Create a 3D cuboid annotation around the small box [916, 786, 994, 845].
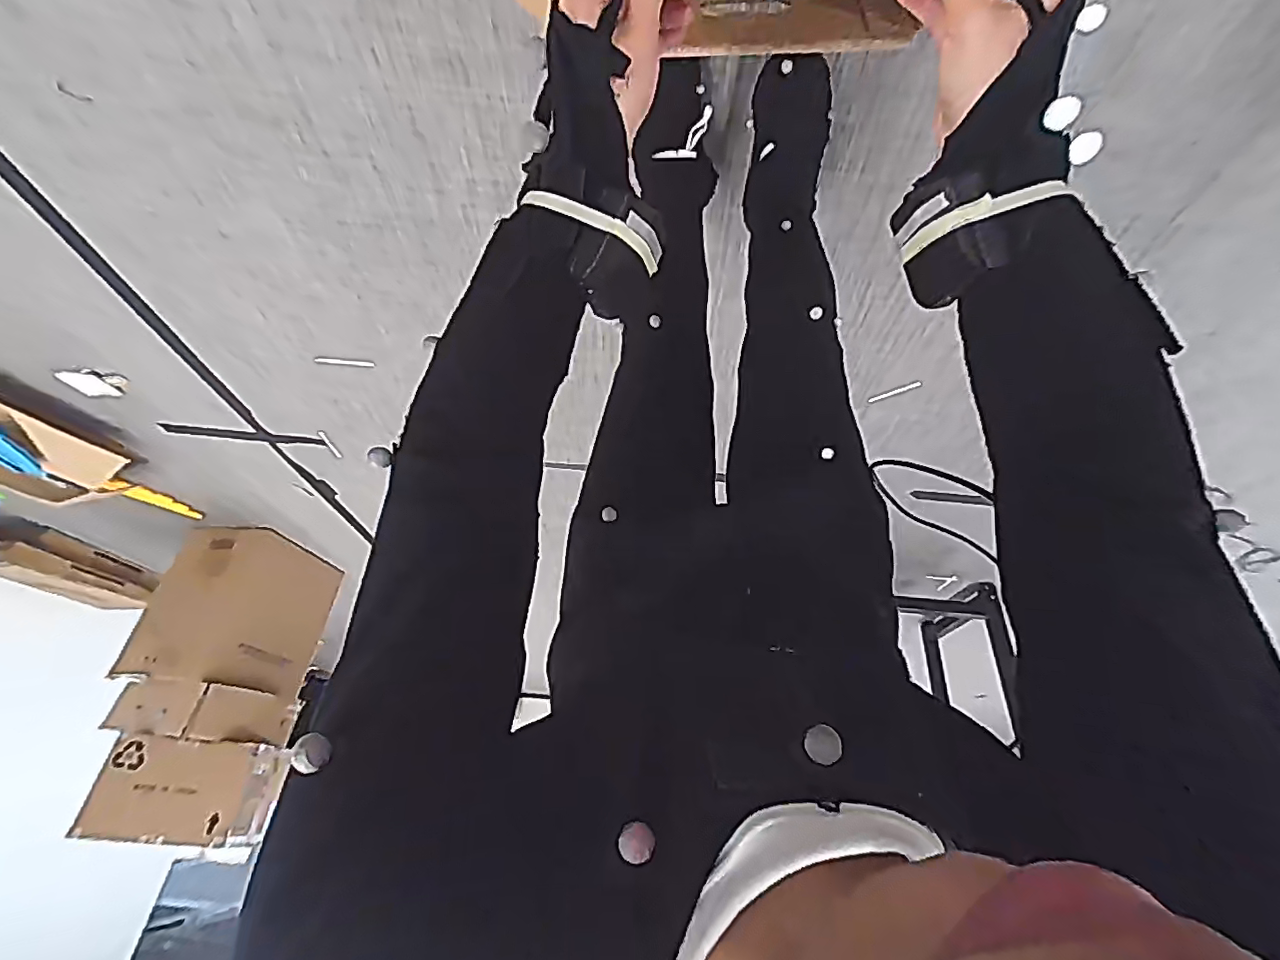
[{"bbox_3d":[1.134,1.217,1.963,0.168,0.176,0.179,8,148,-3],"label":"small box"}]
